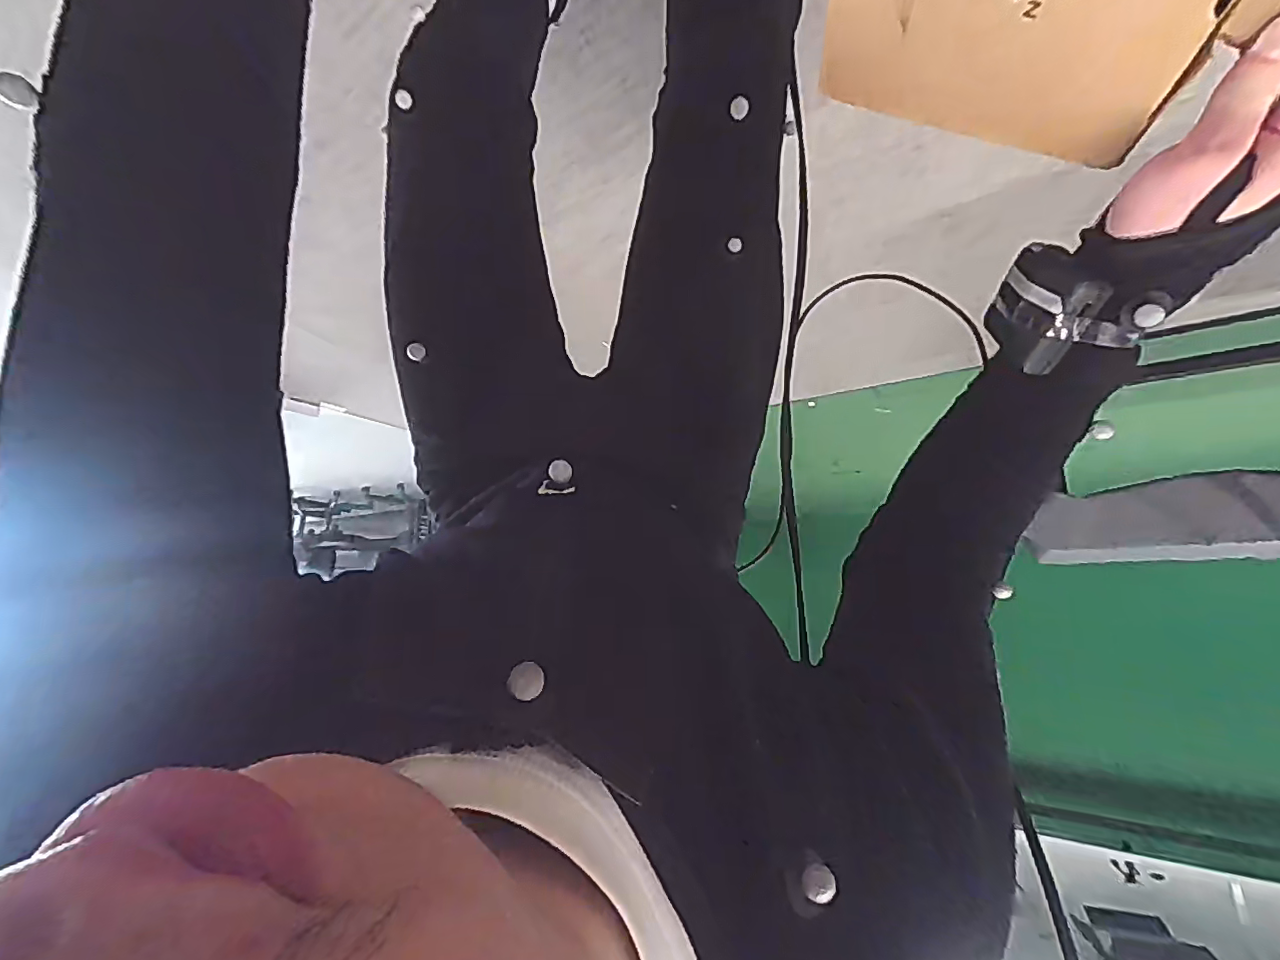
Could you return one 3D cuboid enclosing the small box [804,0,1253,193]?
[{"bbox_3d":[0.205,-0.285,0.255,0.179,0.176,0.168,31,170,17],"label":"small box"}]
